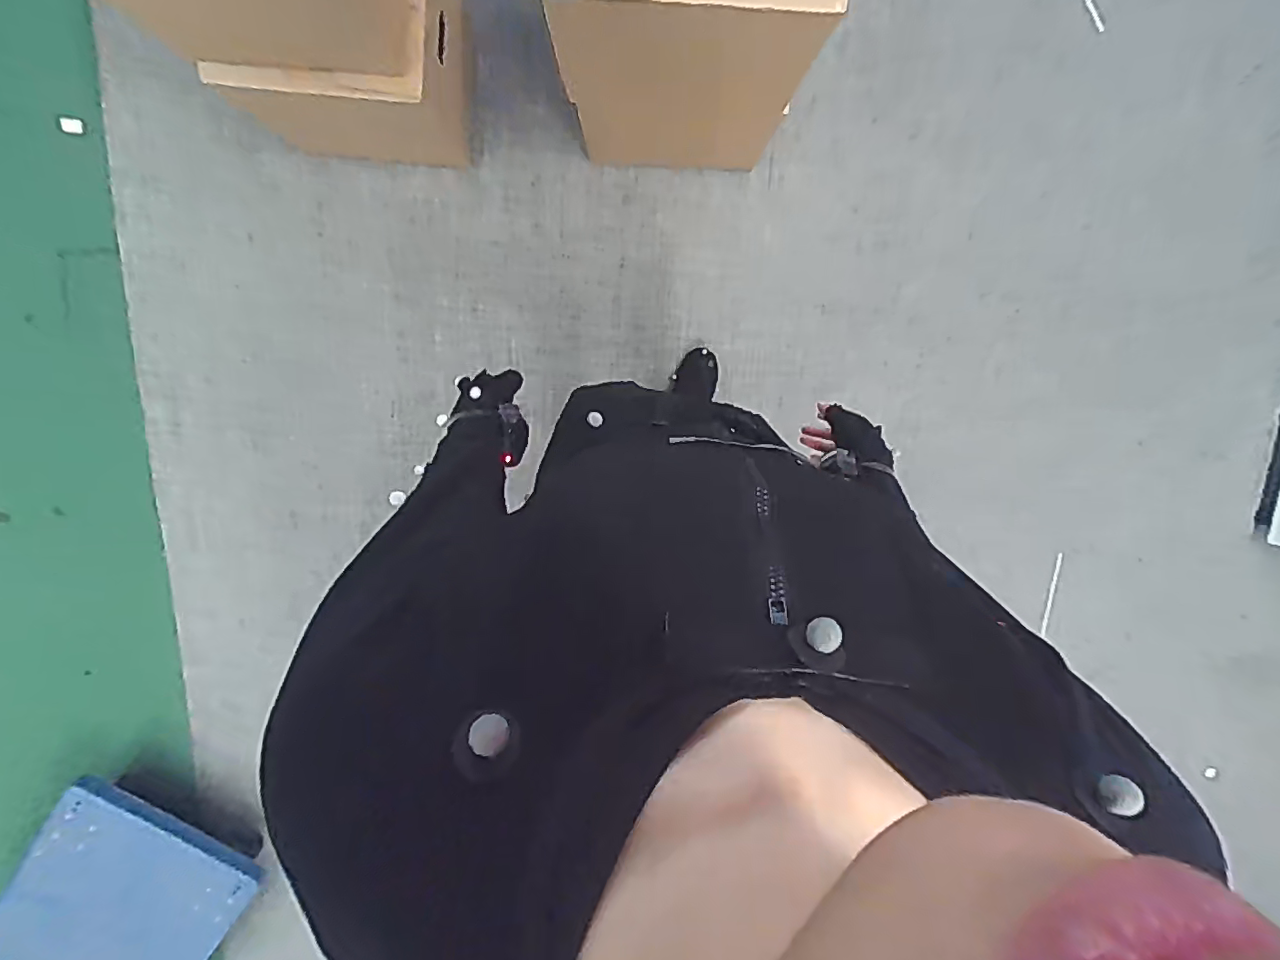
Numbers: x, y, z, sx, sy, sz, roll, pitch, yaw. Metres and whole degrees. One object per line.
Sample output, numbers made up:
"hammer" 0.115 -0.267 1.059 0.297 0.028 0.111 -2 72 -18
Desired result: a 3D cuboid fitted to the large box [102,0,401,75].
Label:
"large box" -0.616 -0.866 0.802 0.408 0.320 0.320 3 98 -2
